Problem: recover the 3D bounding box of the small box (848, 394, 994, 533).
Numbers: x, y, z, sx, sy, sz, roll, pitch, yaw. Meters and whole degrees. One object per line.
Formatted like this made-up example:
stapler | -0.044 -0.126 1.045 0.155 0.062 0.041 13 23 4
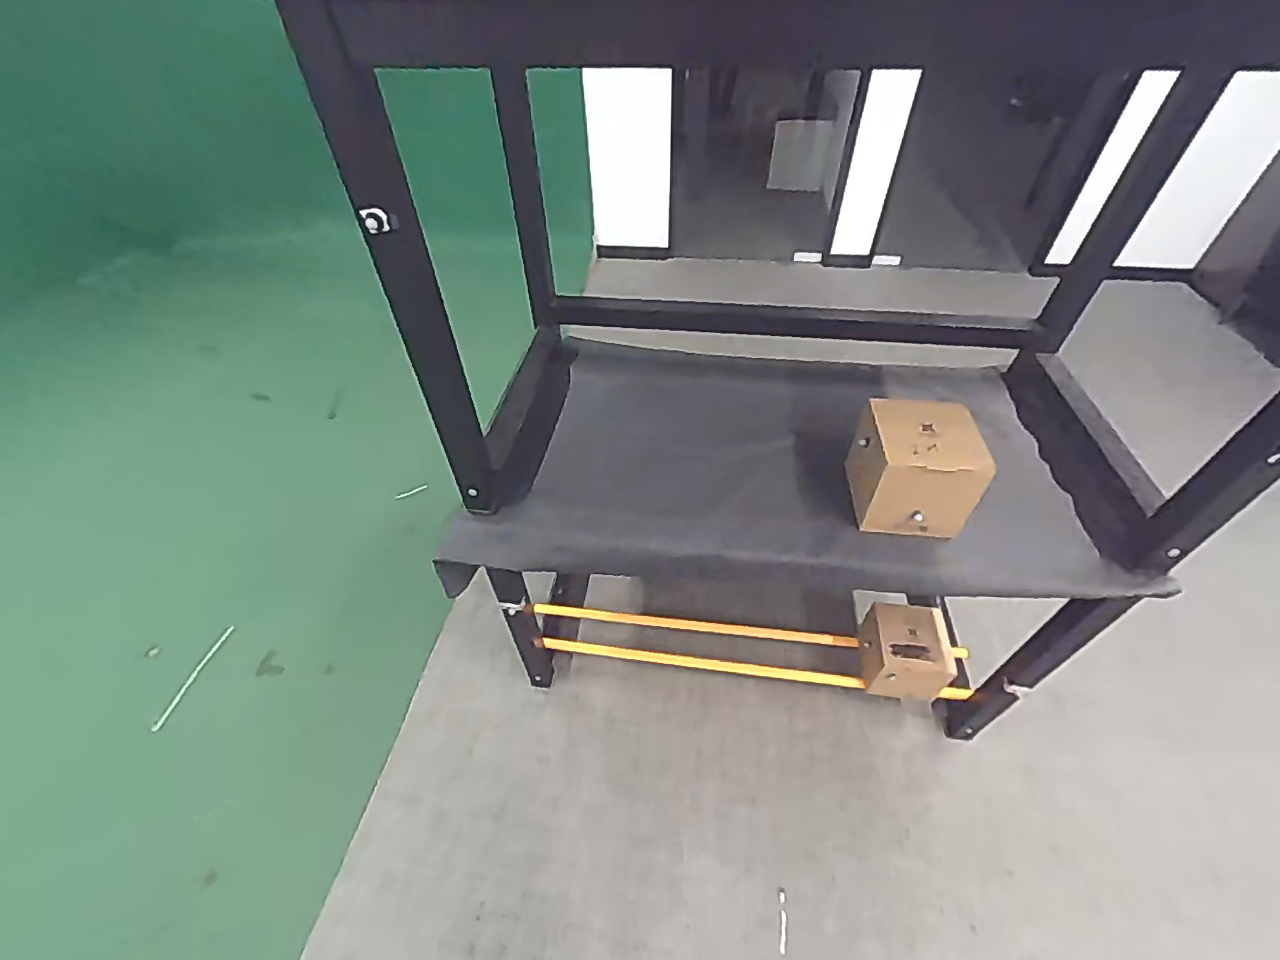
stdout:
small box | 0.480 -0.031 0.959 0.168 0.176 0.179 4 45 6
